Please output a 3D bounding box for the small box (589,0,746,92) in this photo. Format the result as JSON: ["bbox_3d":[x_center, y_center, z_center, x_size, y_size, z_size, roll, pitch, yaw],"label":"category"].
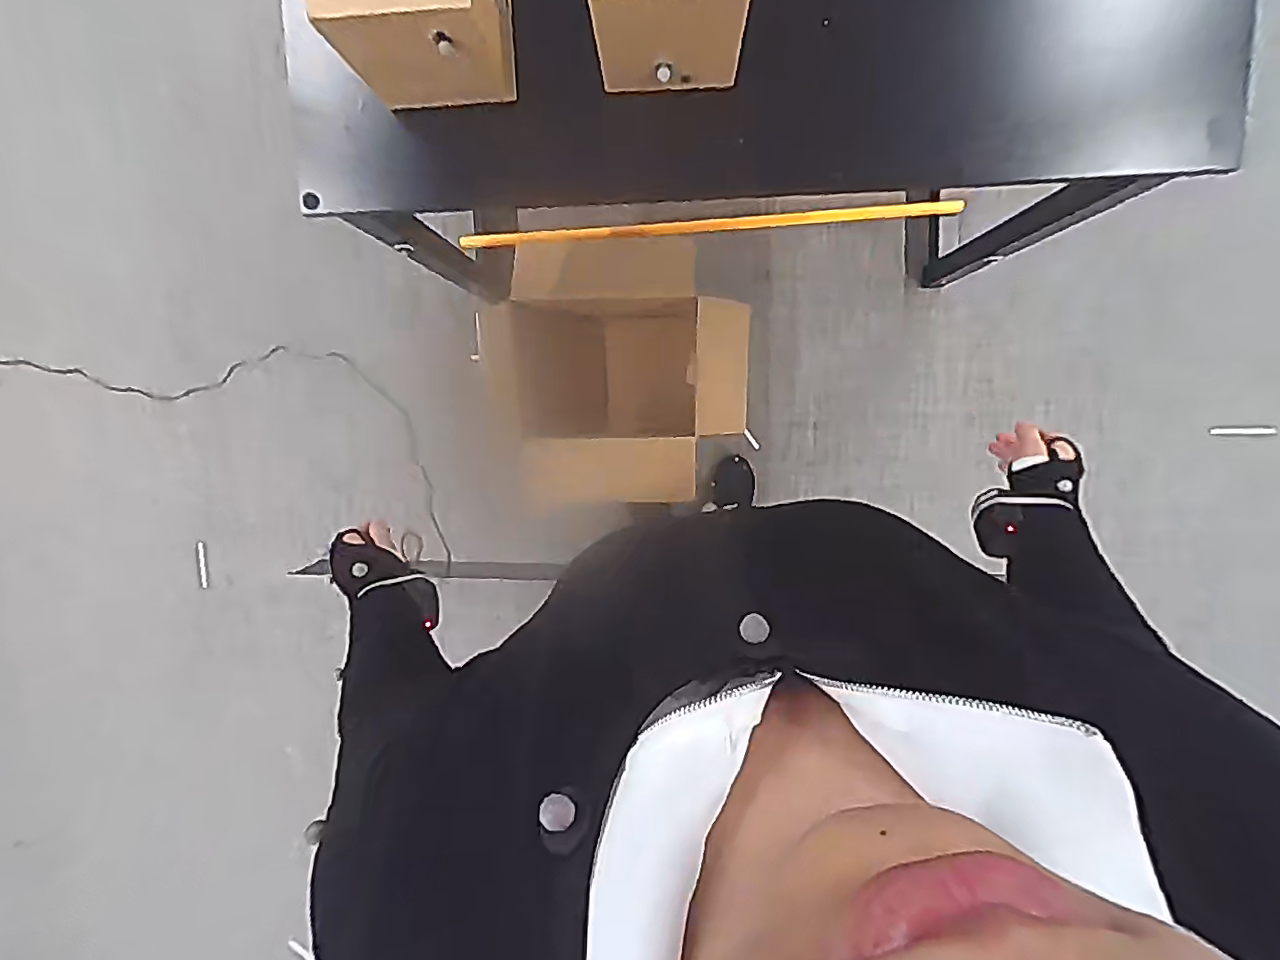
[{"bbox_3d":[0.029,-0.579,0.608,0.168,0.176,0.179,0,98,3],"label":"small box"}]

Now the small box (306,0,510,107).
[{"bbox_3d":[-0.255,-0.565,0.623,0.179,0.176,0.168,-2,96,3],"label":"small box"}]
